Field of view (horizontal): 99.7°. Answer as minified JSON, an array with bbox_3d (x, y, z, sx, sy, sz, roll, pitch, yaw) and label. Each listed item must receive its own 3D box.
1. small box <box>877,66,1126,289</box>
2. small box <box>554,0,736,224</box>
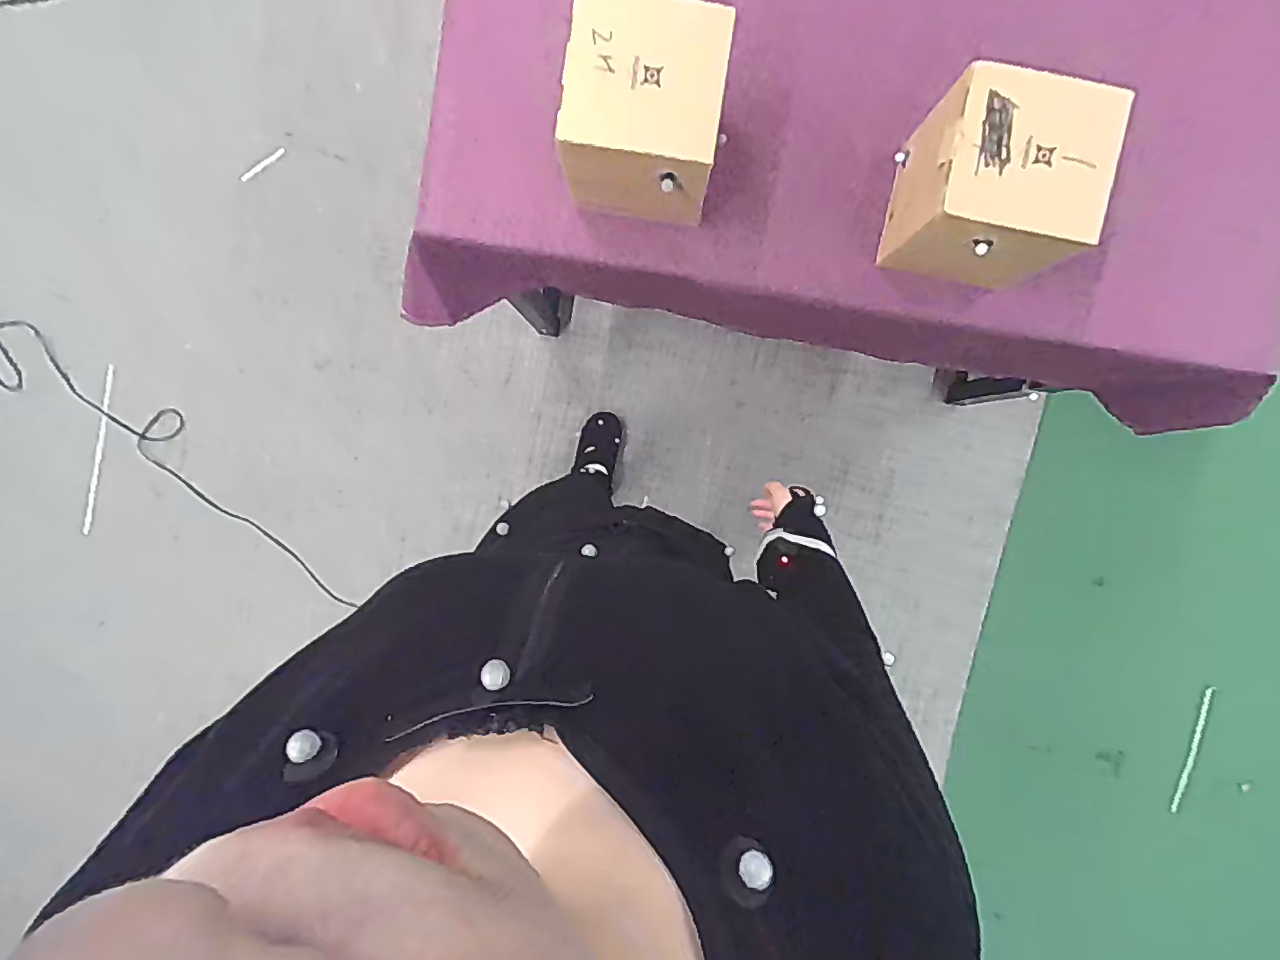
[{"bbox_3d":[0.420,-0.350,0.661,0.179,0.176,0.168,12,93,0],"label":"small box"},{"bbox_3d":[0.005,-0.437,0.662,0.179,0.176,0.168,10,93,0],"label":"small box"}]
